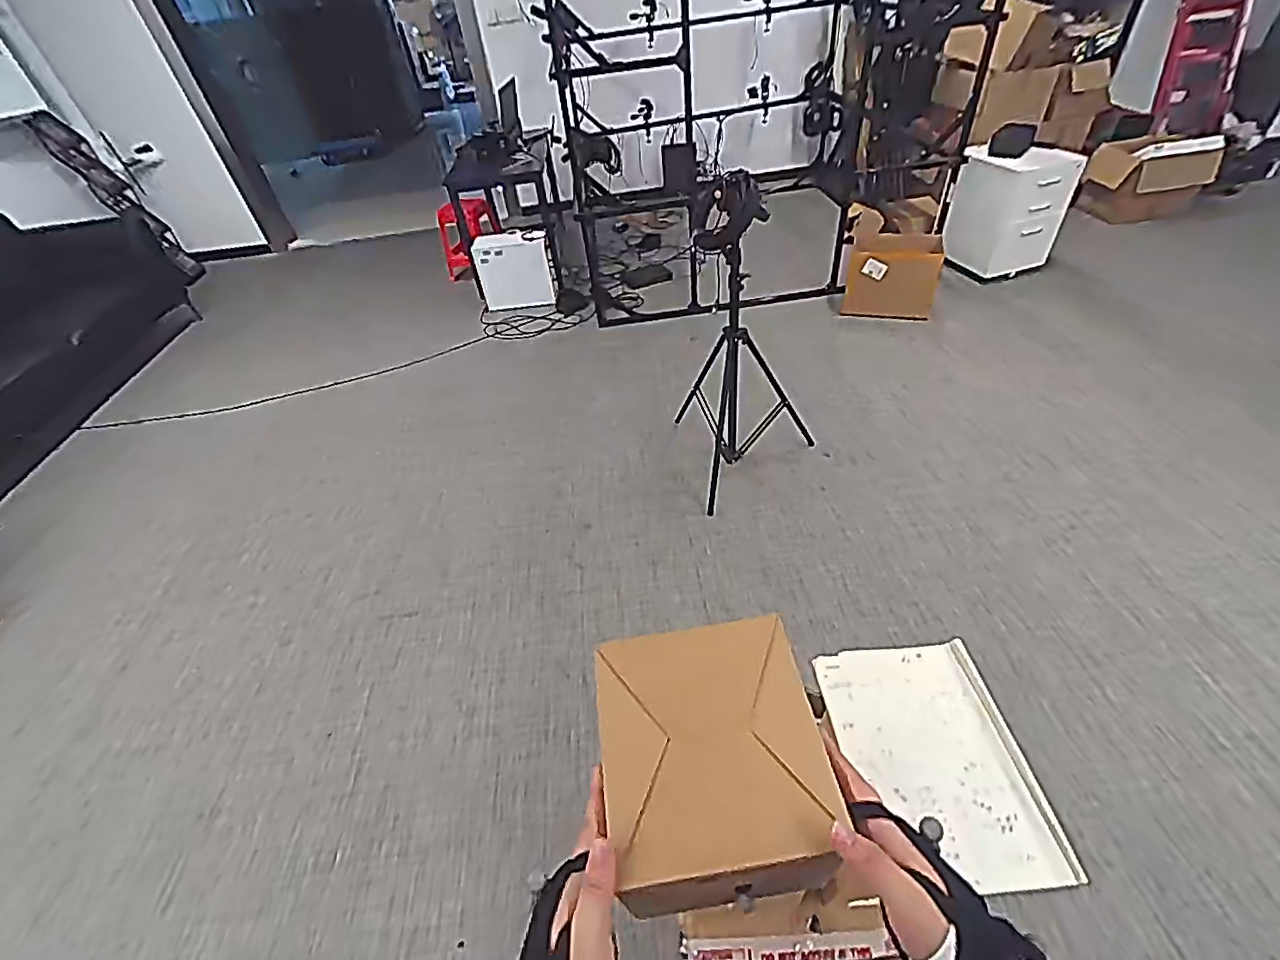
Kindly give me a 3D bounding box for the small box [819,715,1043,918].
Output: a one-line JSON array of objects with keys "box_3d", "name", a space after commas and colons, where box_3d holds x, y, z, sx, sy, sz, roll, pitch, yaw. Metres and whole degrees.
[{"box_3d": [0.337, 0.419, 0.674, 0.168, 0.176, 0.179, -5, 45, 0], "name": "small box"}]
